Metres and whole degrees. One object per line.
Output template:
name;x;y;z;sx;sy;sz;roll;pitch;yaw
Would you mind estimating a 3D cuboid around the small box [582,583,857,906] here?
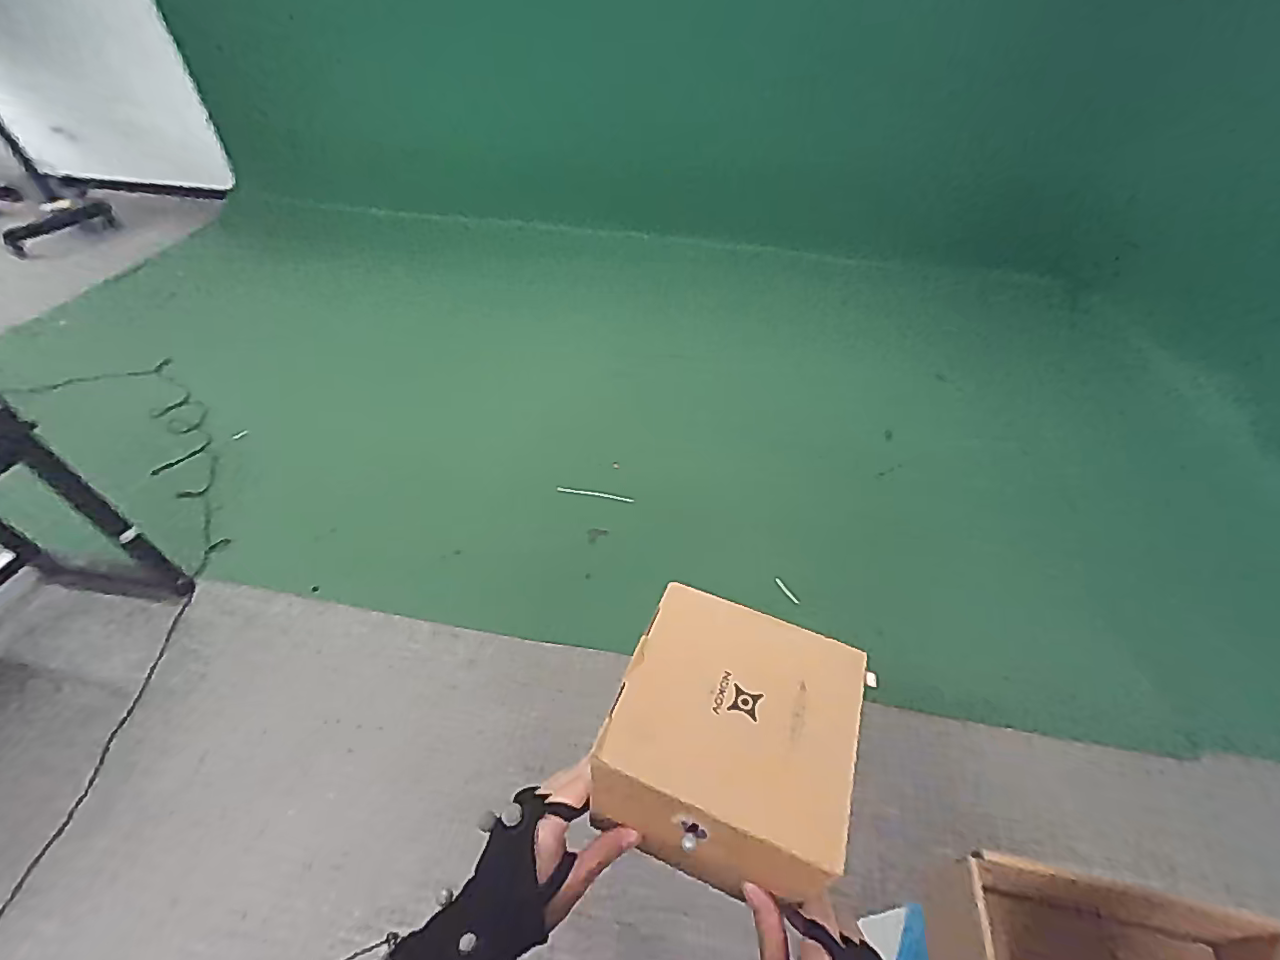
small box;0.064;0.225;0.463;0.179;0.176;0.168;18;45;14
